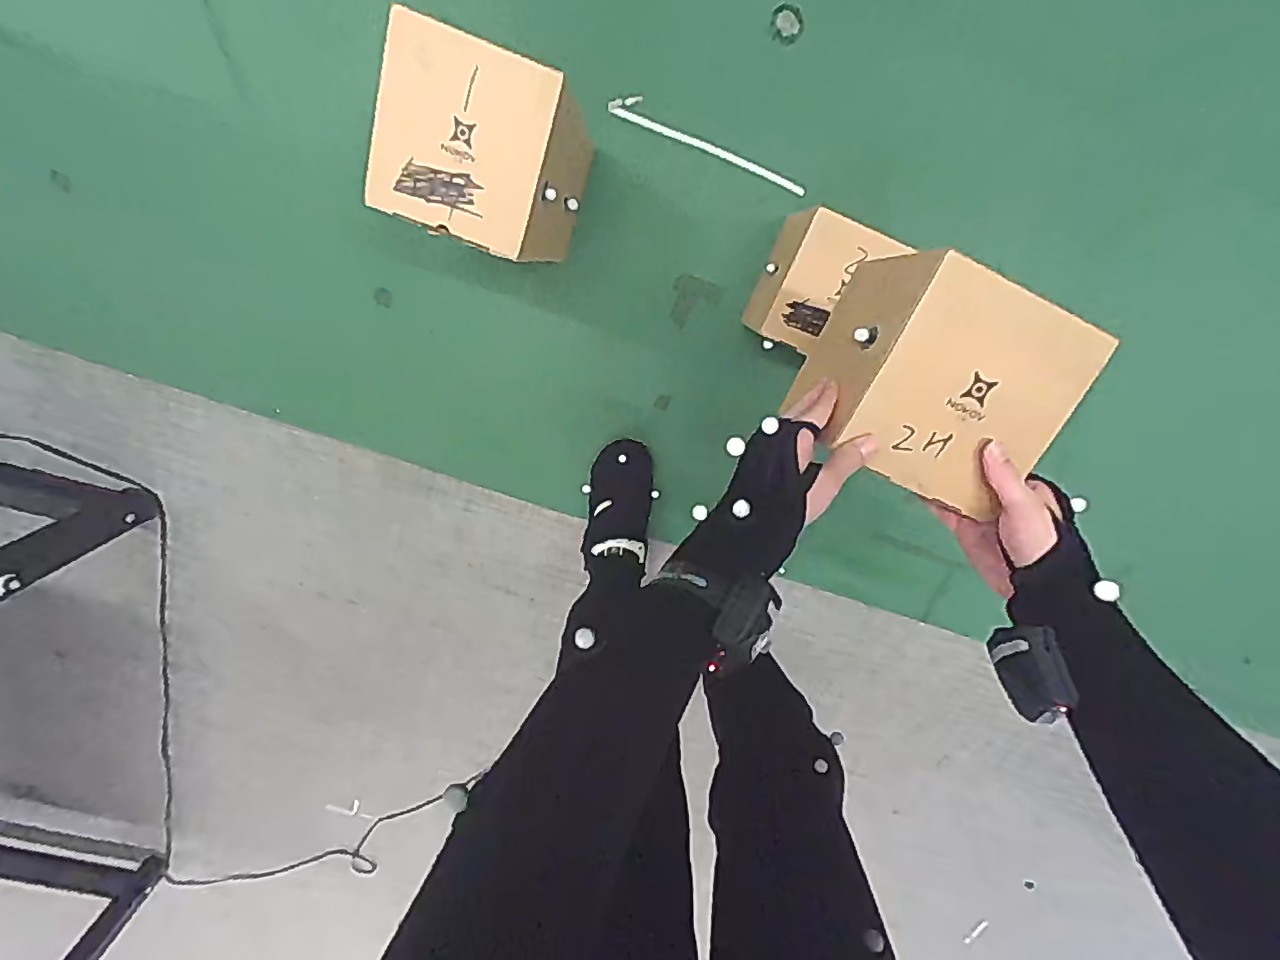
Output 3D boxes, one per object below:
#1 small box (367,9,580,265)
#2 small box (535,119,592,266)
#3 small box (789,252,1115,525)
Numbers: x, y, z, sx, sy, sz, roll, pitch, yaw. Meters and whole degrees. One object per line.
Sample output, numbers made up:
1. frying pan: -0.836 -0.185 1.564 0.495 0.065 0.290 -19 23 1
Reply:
1. small box: -0.172 -0.355 0.602 0.168 0.176 0.179 19 111 -7
2. small box: -0.171 -0.417 0.754 0.168 0.176 0.179 19 111 -7
3. small box: 0.267 -0.091 0.514 0.168 0.176 0.179 23 107 -9
